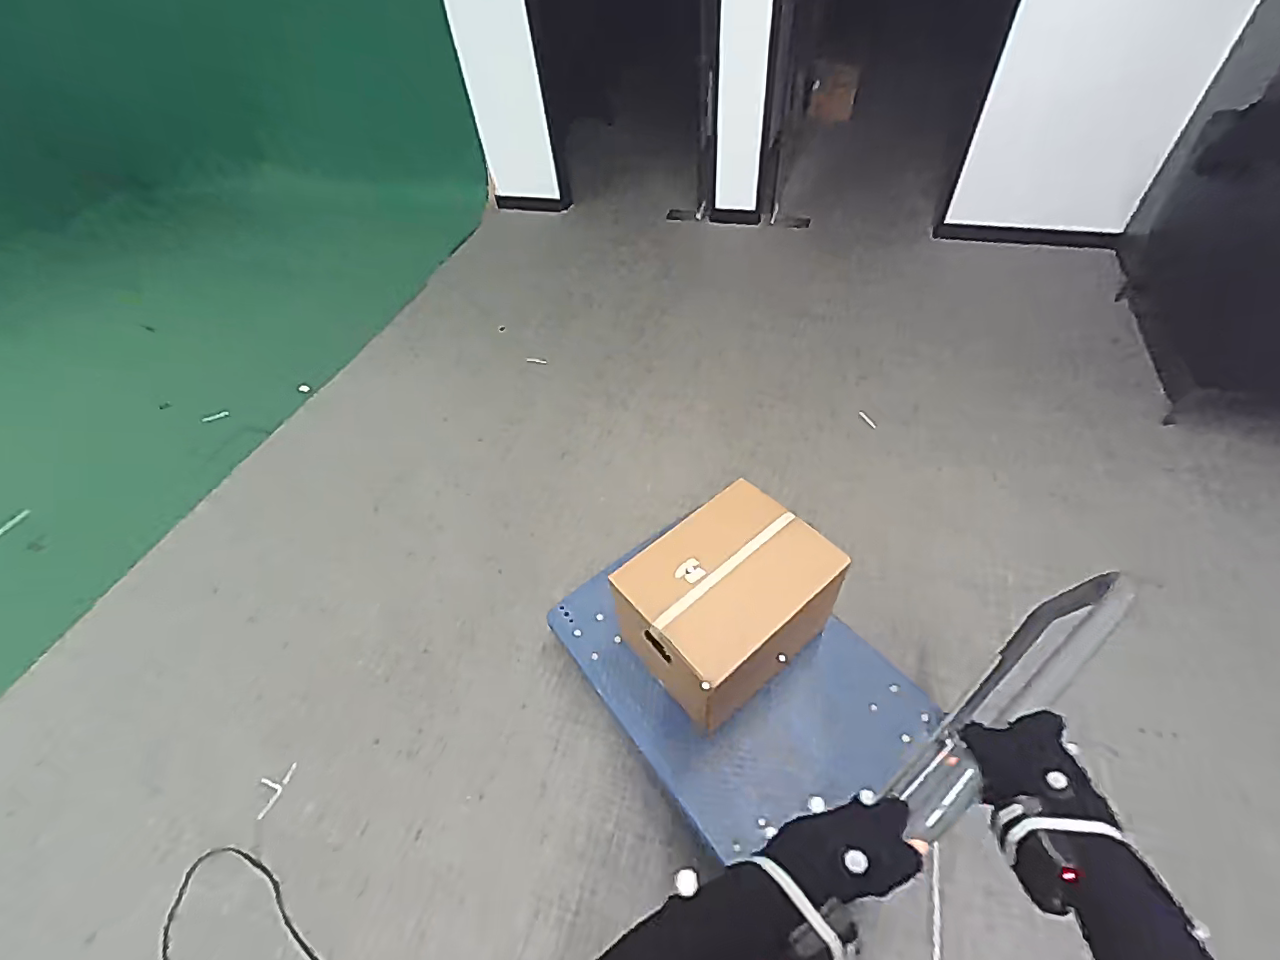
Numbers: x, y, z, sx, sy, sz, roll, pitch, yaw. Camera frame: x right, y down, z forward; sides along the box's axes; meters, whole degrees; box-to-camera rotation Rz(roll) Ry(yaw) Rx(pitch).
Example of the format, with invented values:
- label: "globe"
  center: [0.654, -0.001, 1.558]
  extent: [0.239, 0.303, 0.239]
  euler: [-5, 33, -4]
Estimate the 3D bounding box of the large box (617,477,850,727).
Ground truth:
- label: "large box"
  center: [0.207, 0.275, 1.243]
  extent: [0.408, 0.320, 0.320]
  euler: [-36, 55, -21]
